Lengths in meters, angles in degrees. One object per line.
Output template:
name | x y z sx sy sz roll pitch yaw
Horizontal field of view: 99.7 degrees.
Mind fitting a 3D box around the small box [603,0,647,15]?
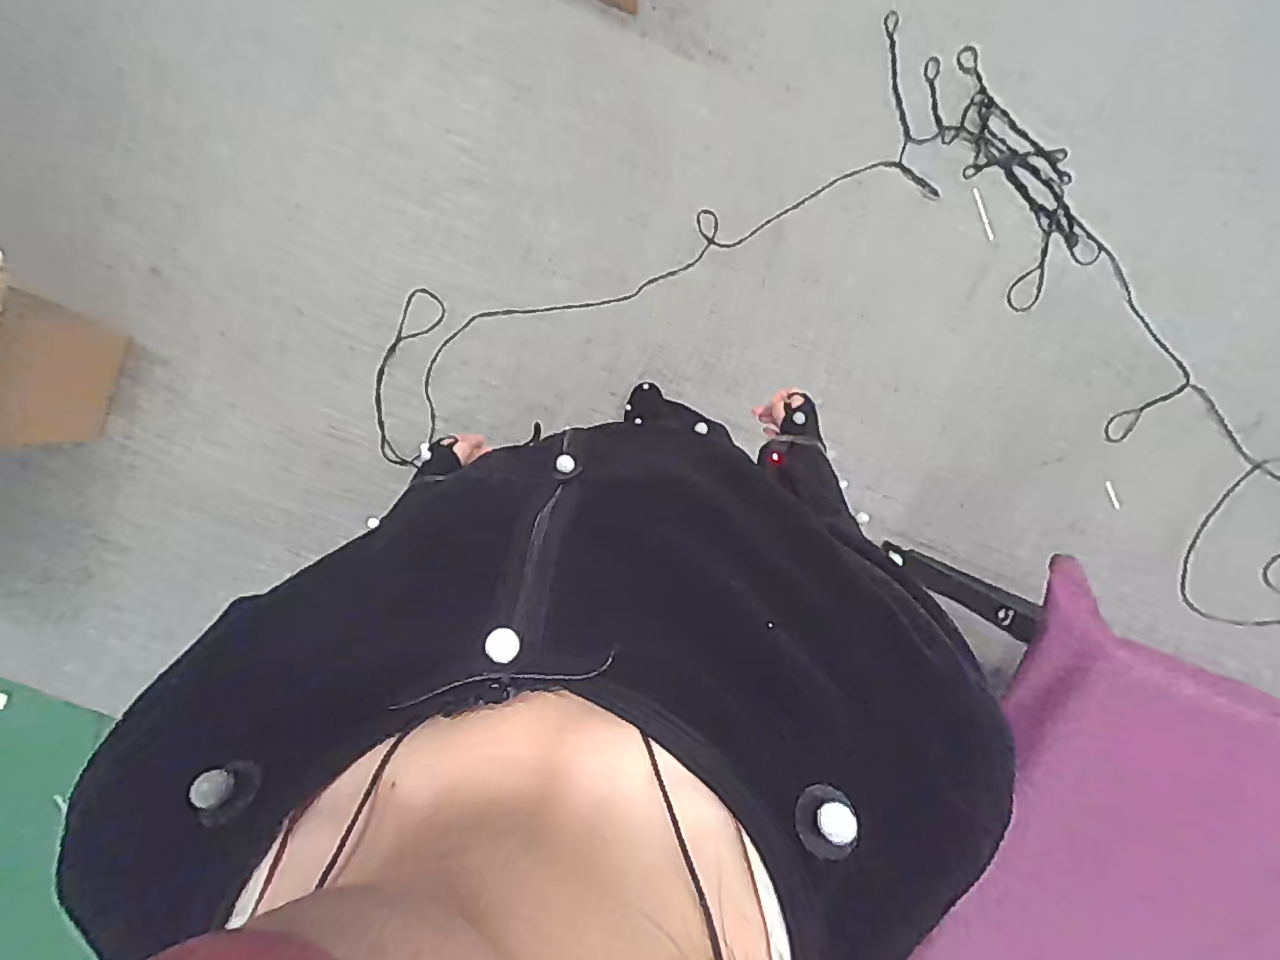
small box | -0.049 -1.251 1.264 0.179 0.176 0.168 21 97 -4
